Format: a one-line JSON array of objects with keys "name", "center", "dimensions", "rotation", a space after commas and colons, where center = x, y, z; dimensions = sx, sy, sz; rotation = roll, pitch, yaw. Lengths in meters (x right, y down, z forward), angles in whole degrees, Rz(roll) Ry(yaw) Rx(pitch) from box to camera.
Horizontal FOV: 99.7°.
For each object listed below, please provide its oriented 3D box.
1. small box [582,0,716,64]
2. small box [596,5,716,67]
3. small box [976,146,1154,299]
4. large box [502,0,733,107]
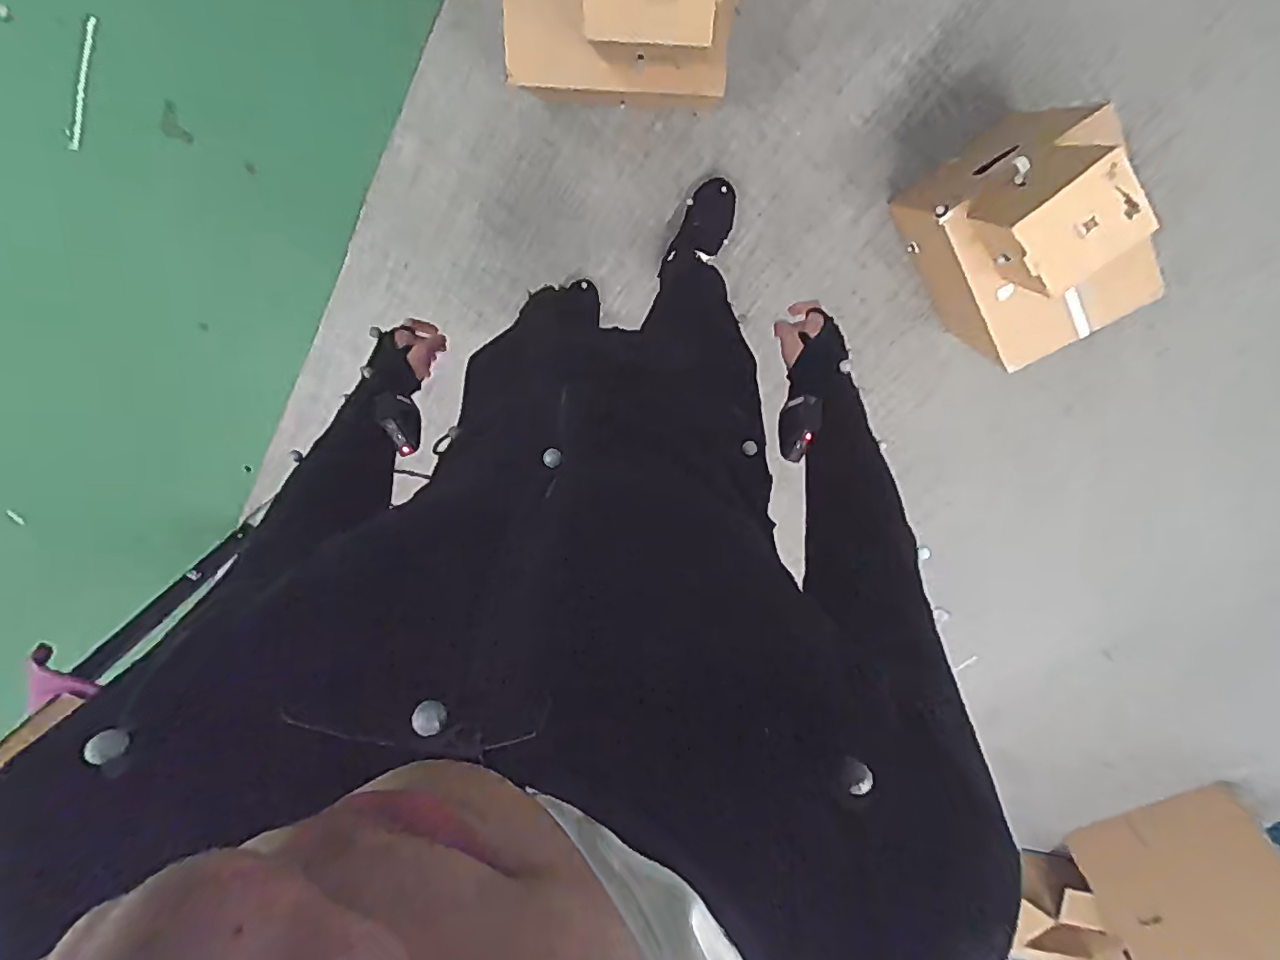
[{"name": "small box", "center": [0.019, -0.668, 0.703], "dimensions": [0.168, 0.176, 0.179], "rotation": [6, 122, 2]}, {"name": "small box", "center": [0.028, -0.758, 0.839], "dimensions": [0.179, 0.176, 0.168], "rotation": [4, 121, 2]}, {"name": "small box", "center": [0.740, -0.460, 0.967], "dimensions": [0.179, 0.176, 0.168], "rotation": [-38, 112, 24]}, {"name": "large box", "center": [-0.028, -0.916, 1.037], "dimensions": [0.408, 0.320, 0.320], "rotation": [4, 120, 2]}]
